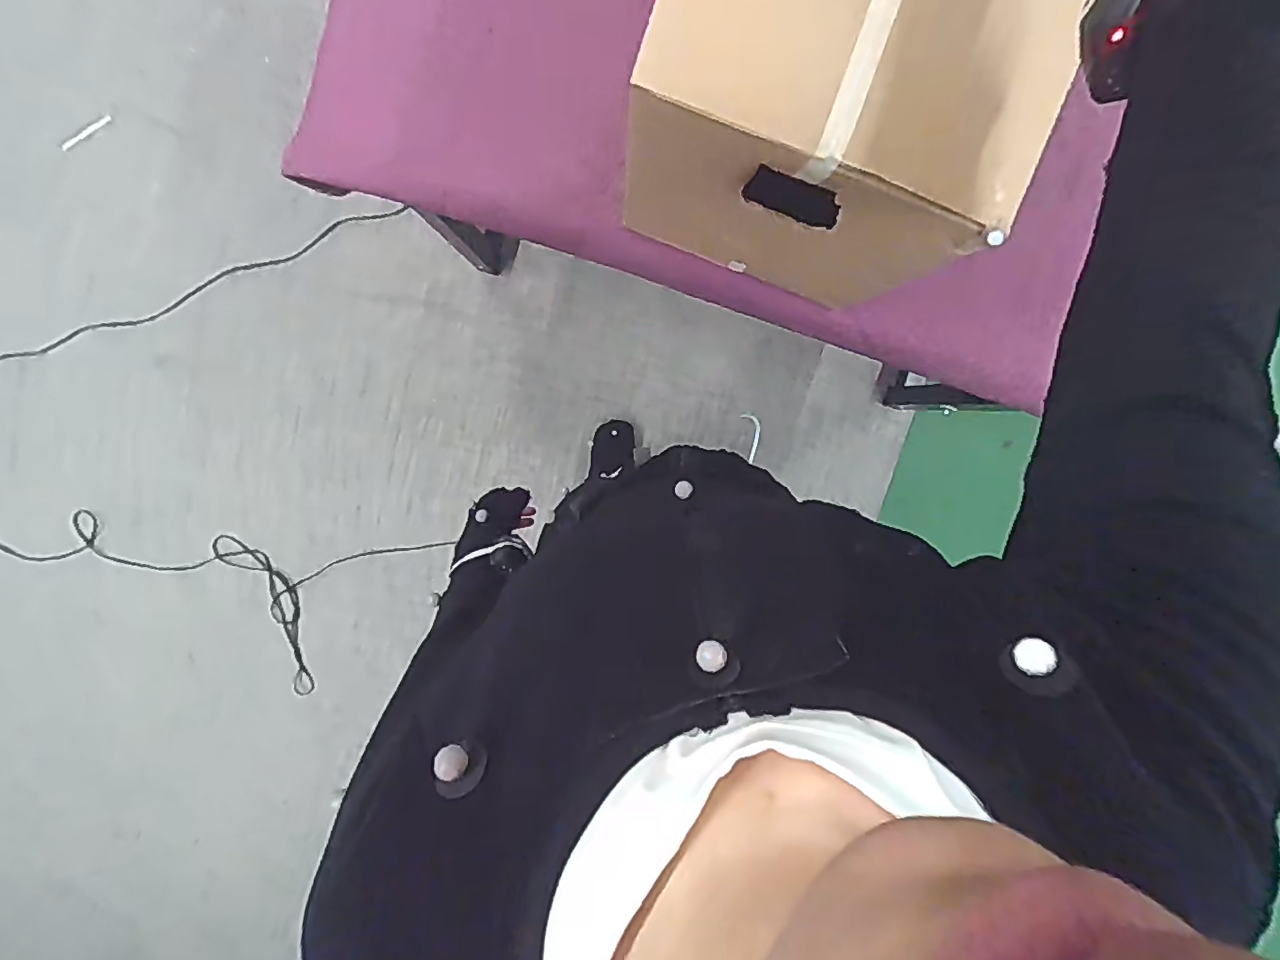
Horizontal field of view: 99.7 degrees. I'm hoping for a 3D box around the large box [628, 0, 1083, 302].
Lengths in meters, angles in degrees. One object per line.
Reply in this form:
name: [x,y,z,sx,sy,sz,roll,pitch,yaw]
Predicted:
large box: [0.197,-0.451,0.552,0.320,0.320,0.408,20,97,-4]
